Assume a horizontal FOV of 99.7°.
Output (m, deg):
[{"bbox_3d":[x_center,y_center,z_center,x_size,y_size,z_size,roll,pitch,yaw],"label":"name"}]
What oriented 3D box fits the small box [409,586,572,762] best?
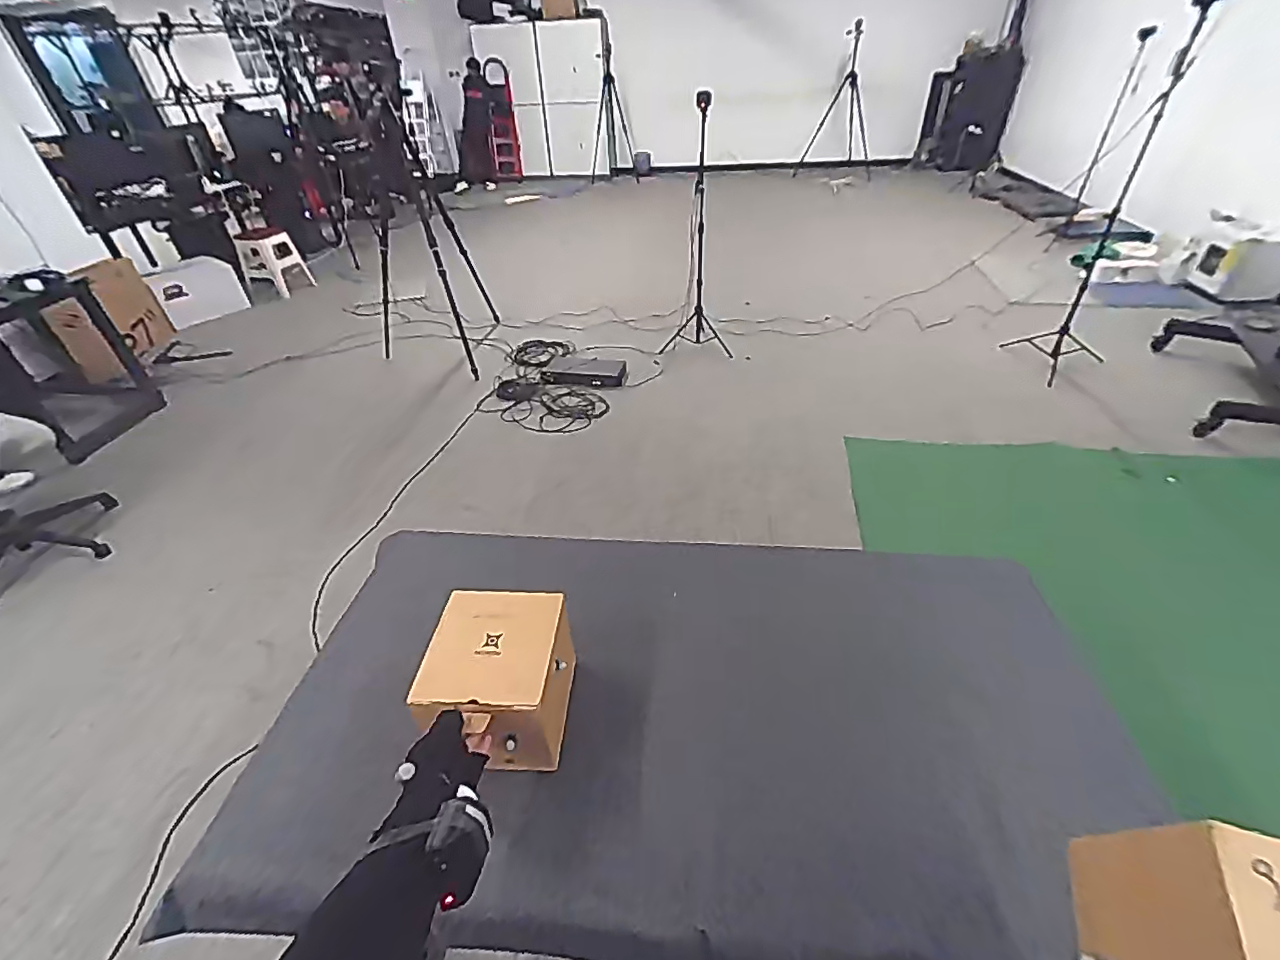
[{"bbox_3d":[-0.193,0.272,0.761,0.168,0.176,0.179,1,38,3],"label":"small box"}]
